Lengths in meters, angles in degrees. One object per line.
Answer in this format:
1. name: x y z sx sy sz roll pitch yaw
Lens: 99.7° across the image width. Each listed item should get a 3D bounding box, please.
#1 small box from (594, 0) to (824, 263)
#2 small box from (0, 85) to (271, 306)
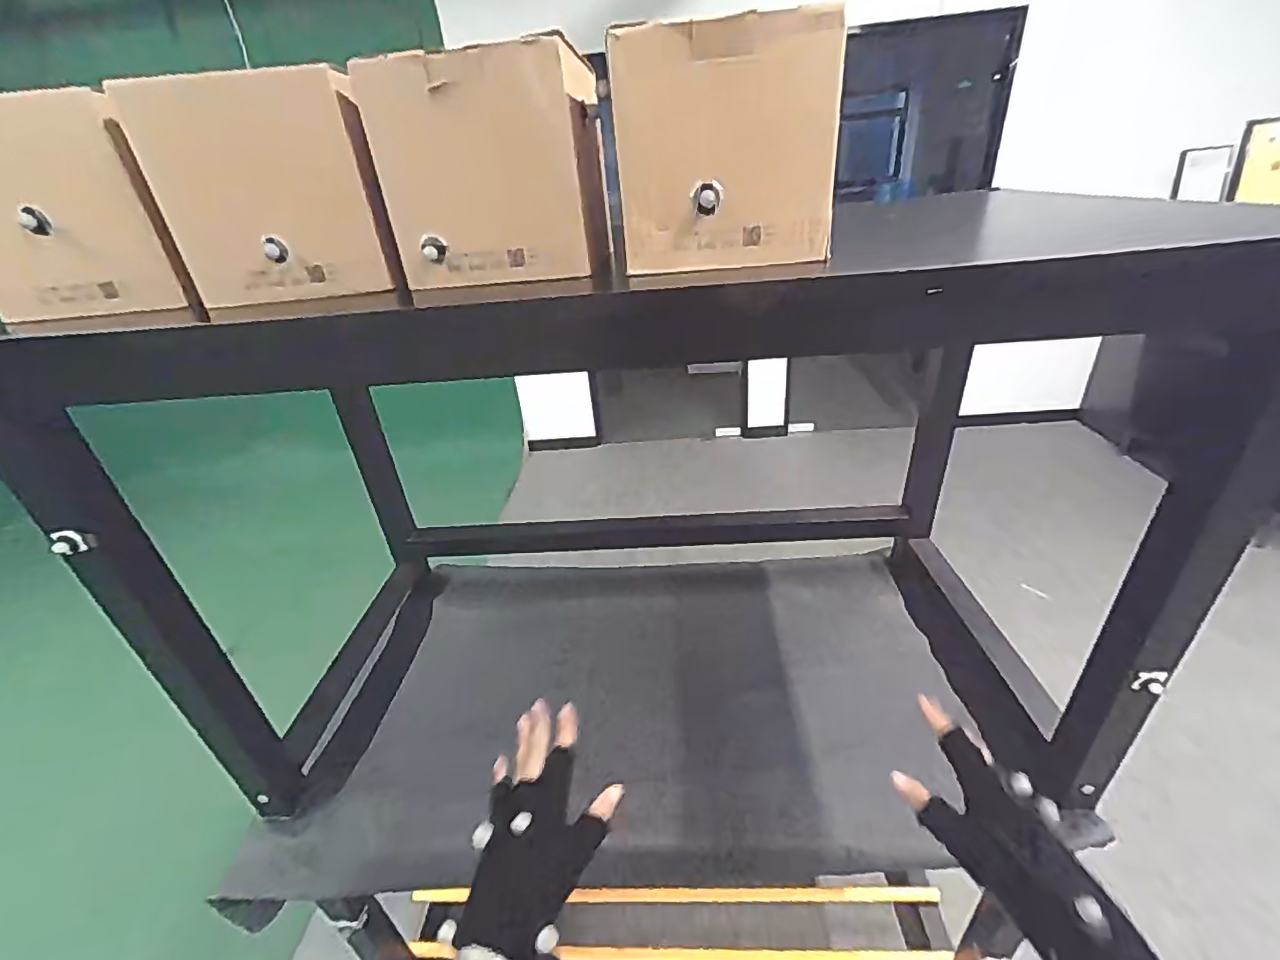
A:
1. small box: 0.057 -0.298 0.490 0.168 0.176 0.179 -3 30 5
2. small box: -0.515 -0.273 0.540 0.168 0.176 0.179 -5 29 -2
